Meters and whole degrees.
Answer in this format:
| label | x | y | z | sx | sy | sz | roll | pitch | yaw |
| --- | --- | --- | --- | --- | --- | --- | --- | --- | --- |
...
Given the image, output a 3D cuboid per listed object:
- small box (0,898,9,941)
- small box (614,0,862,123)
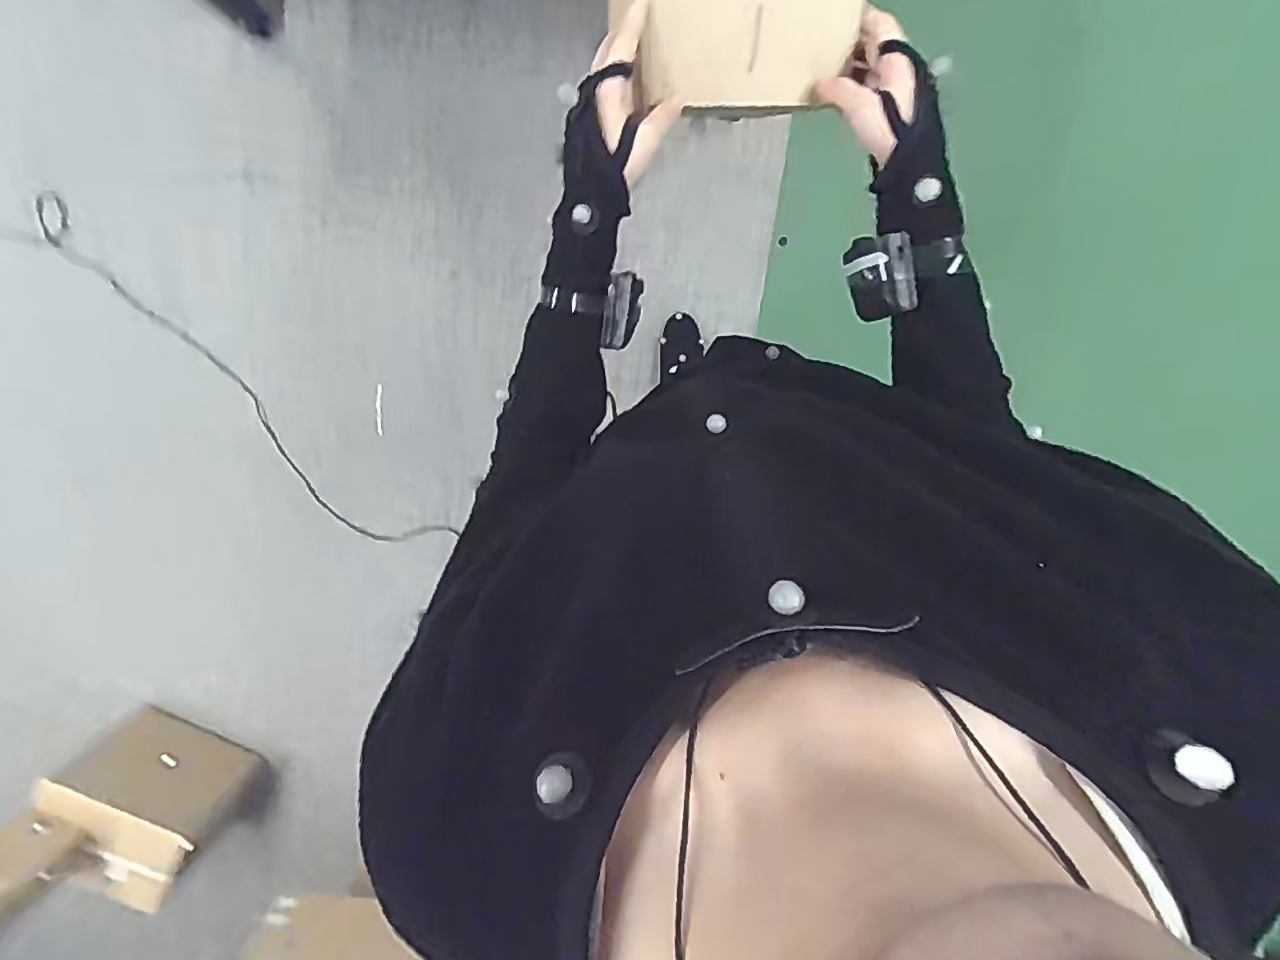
| label | x | y | z | sx | sy | sz | roll | pitch | yaw |
| --- | --- | --- | --- | --- | --- | --- | --- | --- | --- |
| small box | -1.580 | 1.046 | 1.197 | 0.168 | 0.176 | 0.179 | 25 | 102 | -5 |
| small box | 0.070 | -0.410 | 0.451 | 0.168 | 0.176 | 0.179 | -7 | 121 | -9 |
